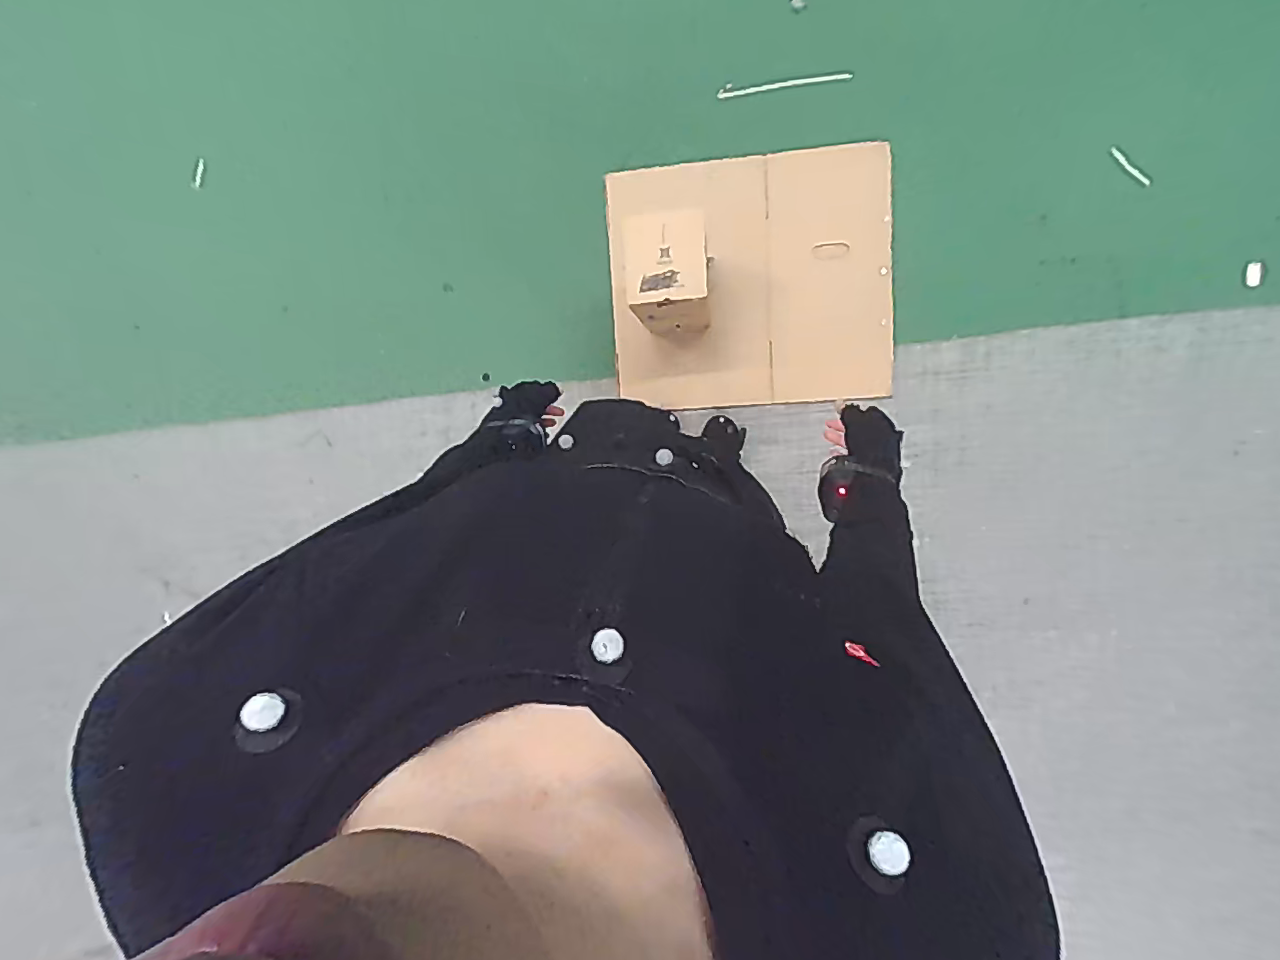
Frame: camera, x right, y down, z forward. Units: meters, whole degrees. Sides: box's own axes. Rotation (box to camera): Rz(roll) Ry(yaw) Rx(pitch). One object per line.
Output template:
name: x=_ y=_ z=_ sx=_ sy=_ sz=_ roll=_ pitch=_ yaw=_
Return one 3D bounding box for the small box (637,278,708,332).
small box: x=0.078 y=-0.466 z=1.307 sx=0.168 sy=0.176 sz=0.179 roll=-4 pitch=97 yaw=9

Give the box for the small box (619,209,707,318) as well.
small box: x=0.055 y=-0.447 z=1.146 sx=0.168 sy=0.176 sz=0.179 roll=-2 pitch=96 yaw=8
